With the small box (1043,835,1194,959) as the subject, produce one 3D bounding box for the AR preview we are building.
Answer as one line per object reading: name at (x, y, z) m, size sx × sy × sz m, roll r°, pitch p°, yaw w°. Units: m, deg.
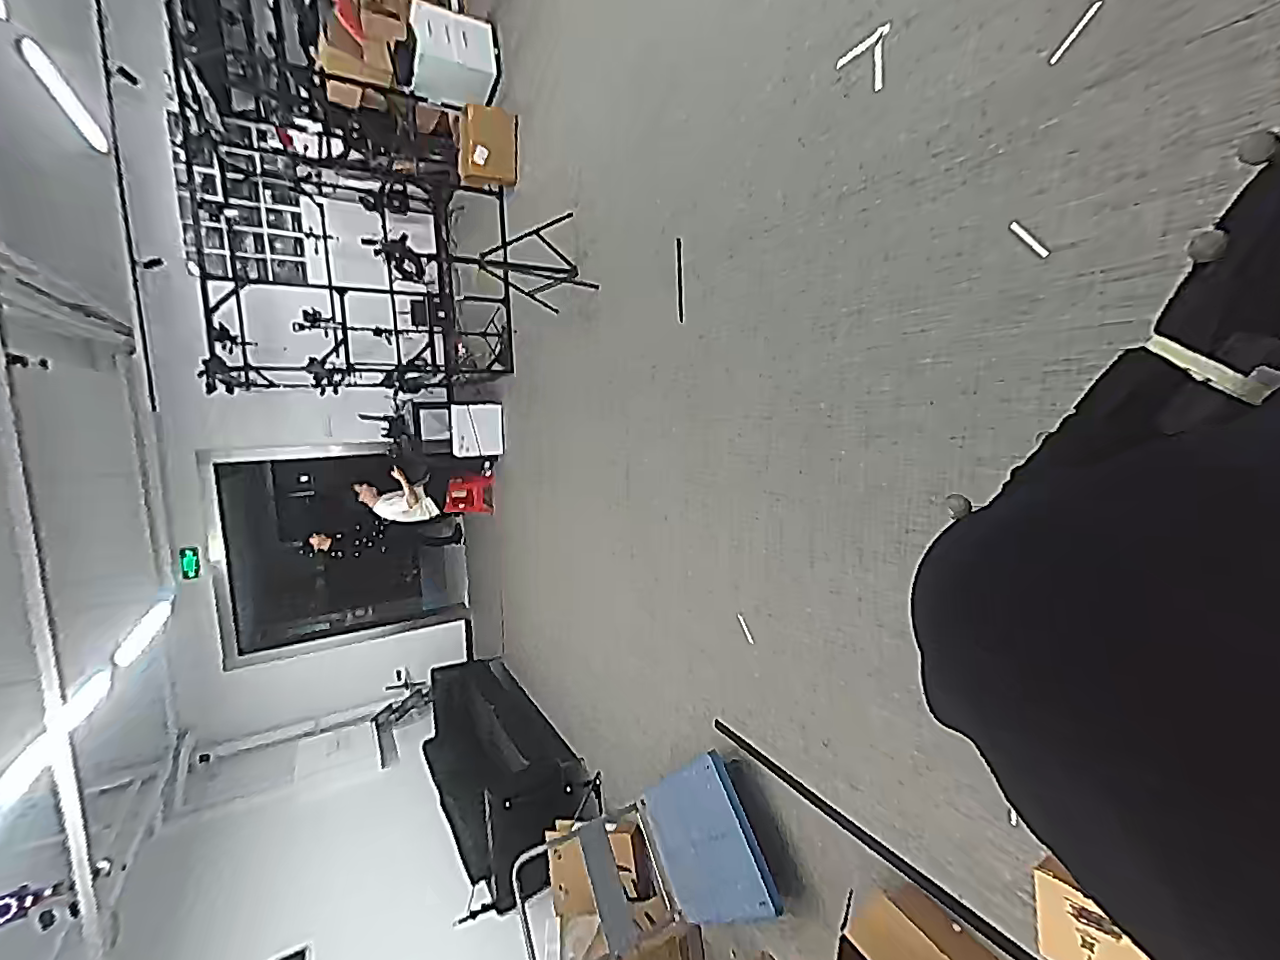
small box at (0.876, 0.803, 0.994) m, size 0.168 × 0.176 × 0.179 m, roll -1°, pitch 95°, yaw 61°
